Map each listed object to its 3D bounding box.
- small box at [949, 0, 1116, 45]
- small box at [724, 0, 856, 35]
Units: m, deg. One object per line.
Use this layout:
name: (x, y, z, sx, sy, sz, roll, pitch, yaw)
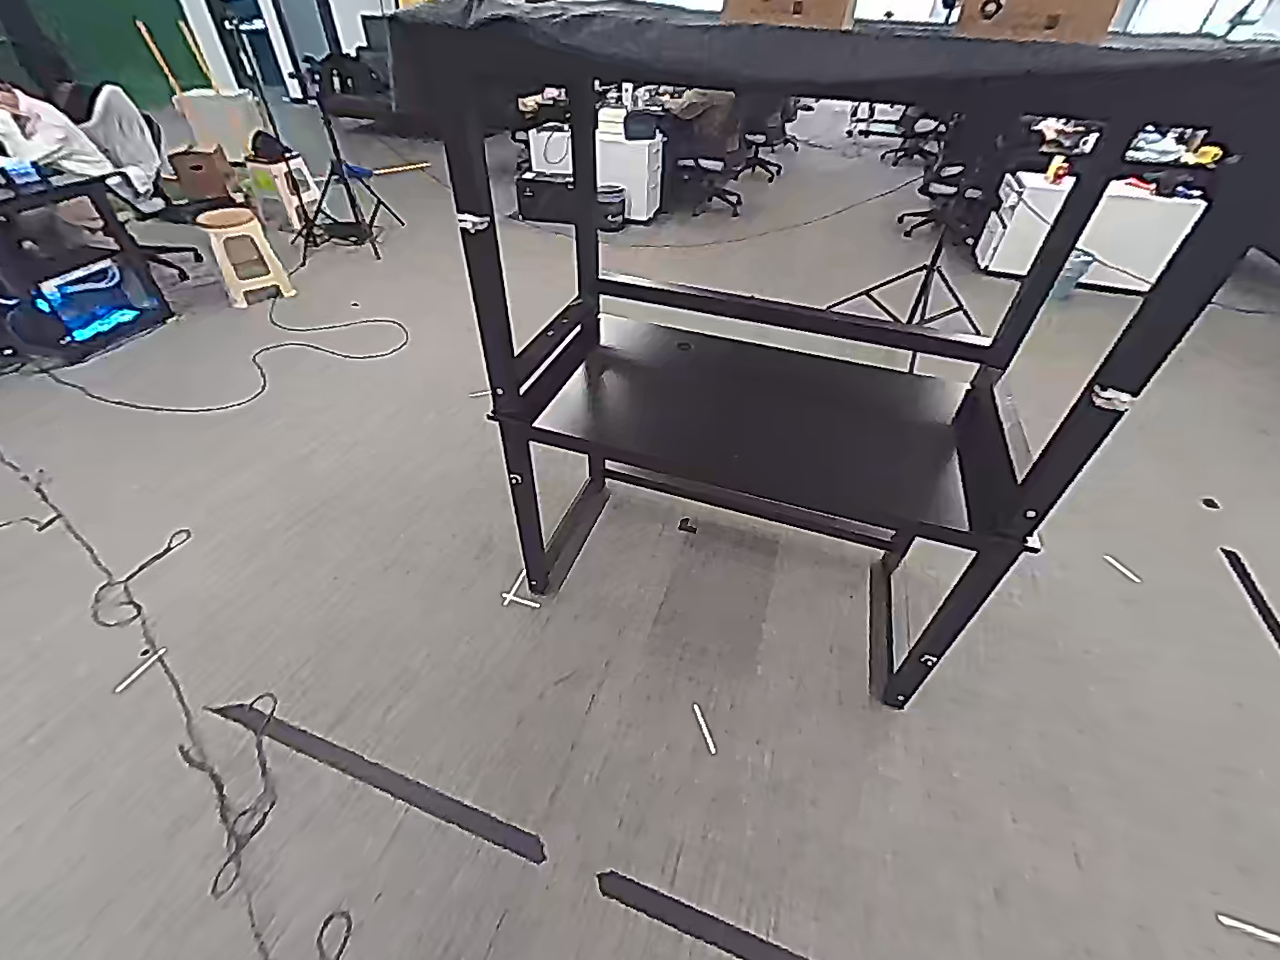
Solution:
small box: (0.501, -0.647, 0.666, 0.168, 0.176, 0.179, 17, 42, 16)
small box: (0.218, -0.718, 0.731, 0.168, 0.176, 0.179, 15, 42, 14)
